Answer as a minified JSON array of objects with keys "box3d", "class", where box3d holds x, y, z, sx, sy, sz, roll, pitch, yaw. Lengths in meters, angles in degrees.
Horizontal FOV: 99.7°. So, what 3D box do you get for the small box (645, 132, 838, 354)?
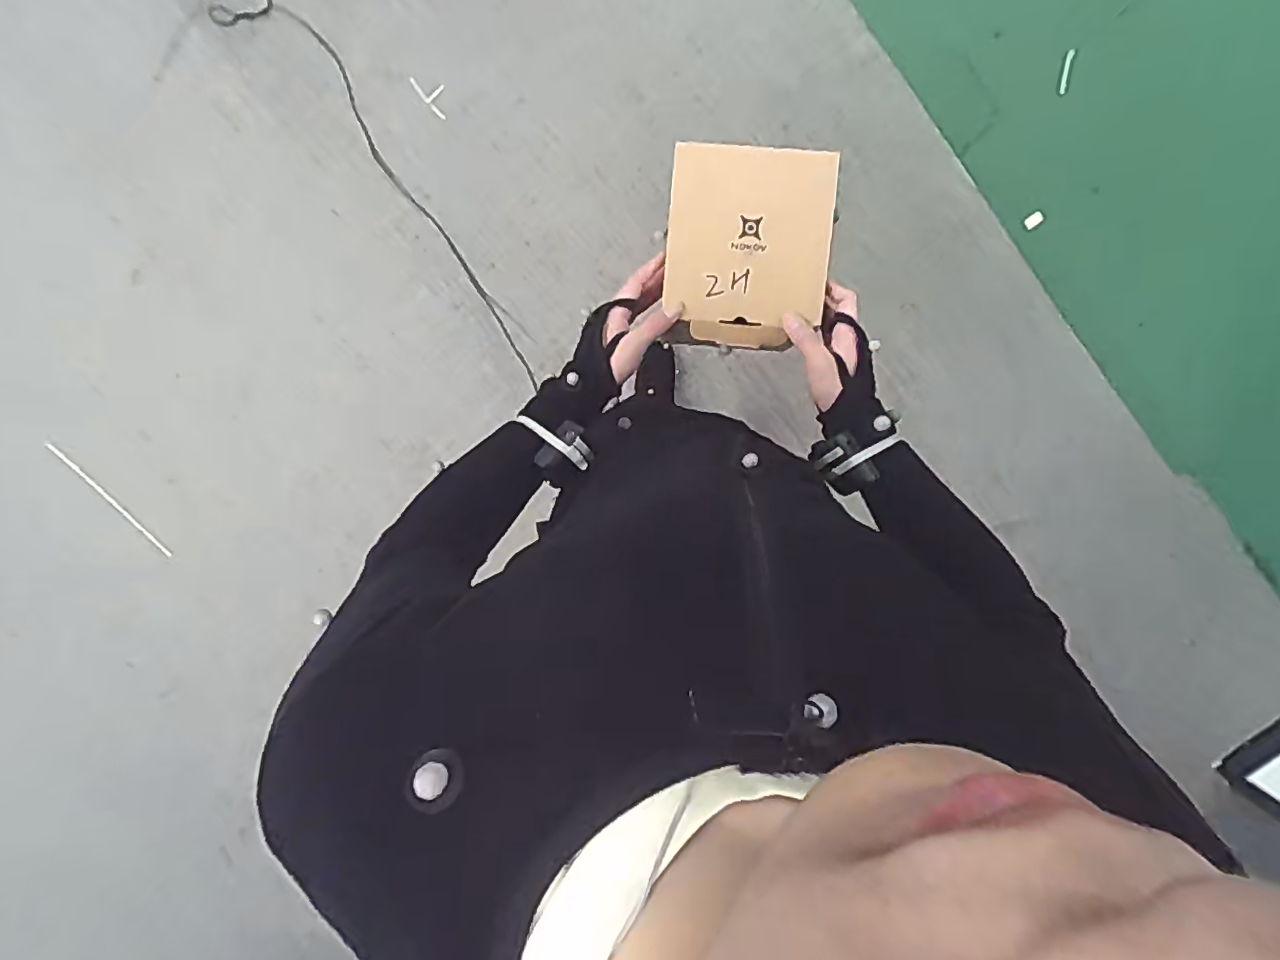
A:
[{"box3d":[0.105,-0.254,0.620,0.168,0.176,0.179,11,97,3],"class":"small box"}]
